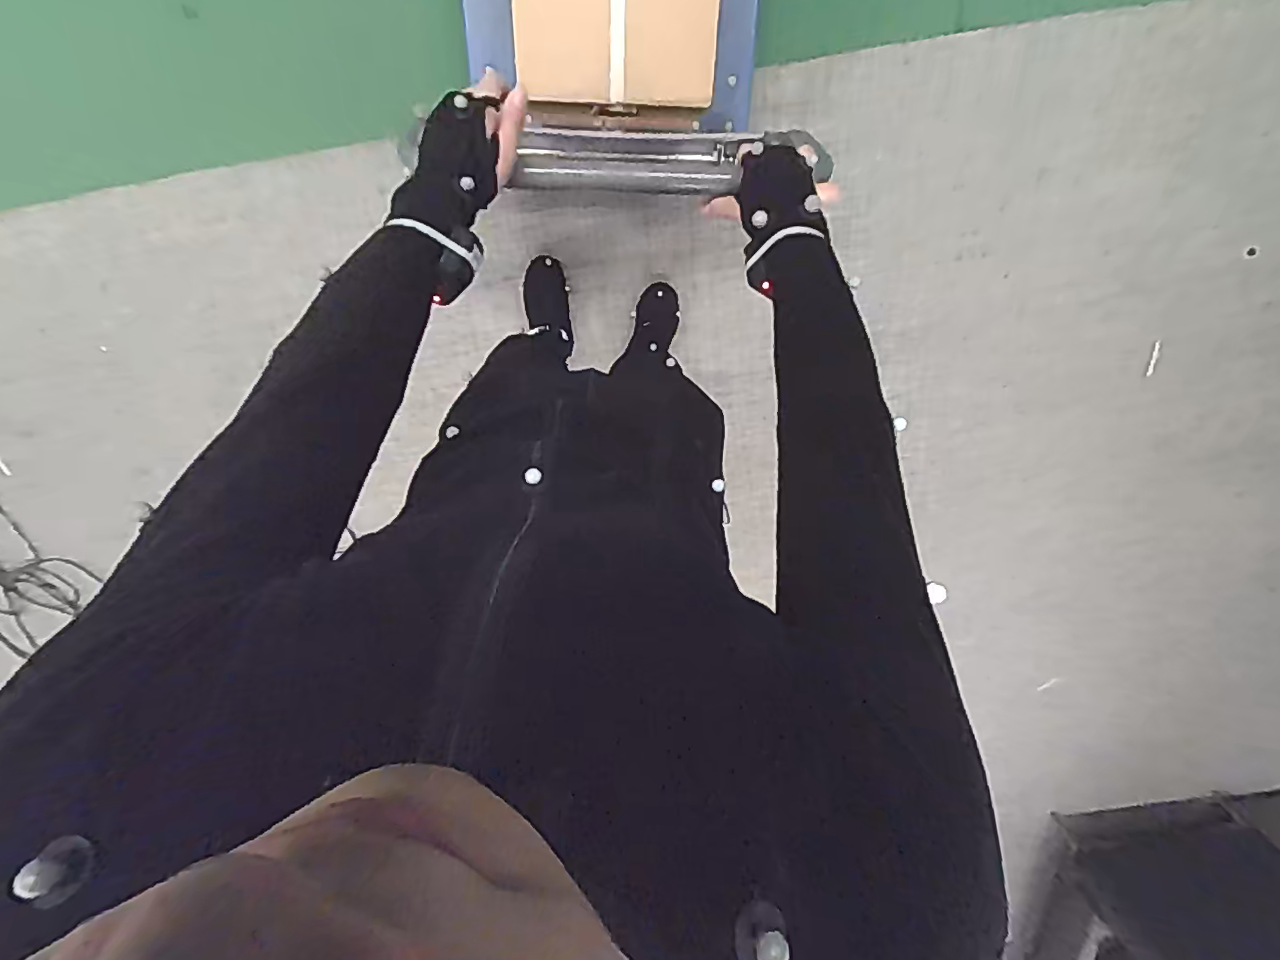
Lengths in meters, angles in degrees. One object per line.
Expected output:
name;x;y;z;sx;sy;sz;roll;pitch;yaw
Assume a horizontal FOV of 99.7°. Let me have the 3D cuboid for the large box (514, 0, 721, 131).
large box;-0.036;-0.842;0.911;0.320;0.320;0.408;0;116;-3
